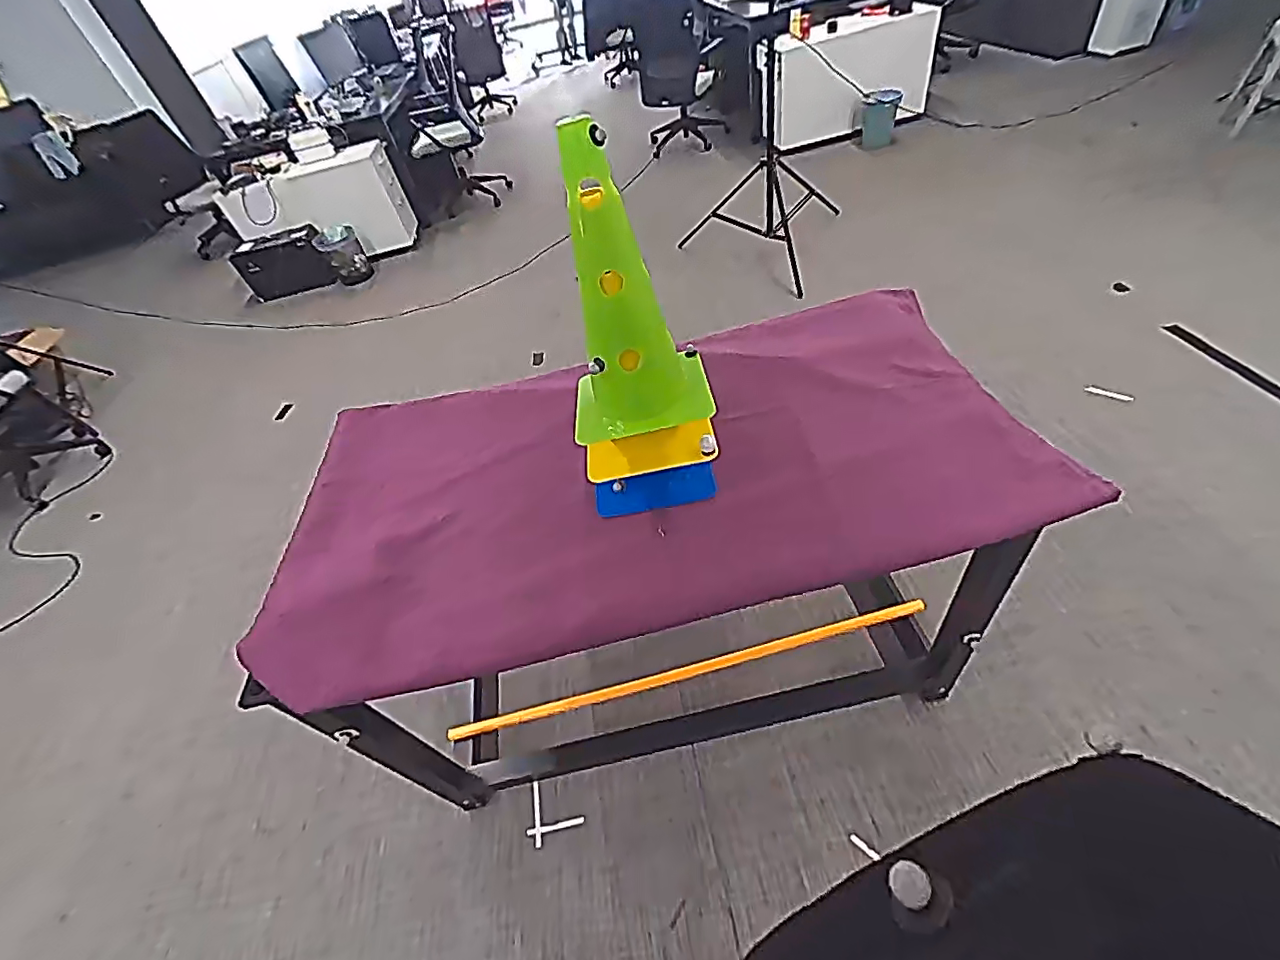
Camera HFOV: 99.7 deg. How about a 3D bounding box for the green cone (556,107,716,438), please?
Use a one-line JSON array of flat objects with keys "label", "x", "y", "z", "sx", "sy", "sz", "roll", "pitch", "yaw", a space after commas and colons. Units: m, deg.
[{"label": "green cone", "x": -0.036, "y": -0.263, "z": 0.698, "sx": 0.200, "sy": 0.368, "sz": 0.202, "roll": -13, "pitch": 40, "yaw": 5}]
